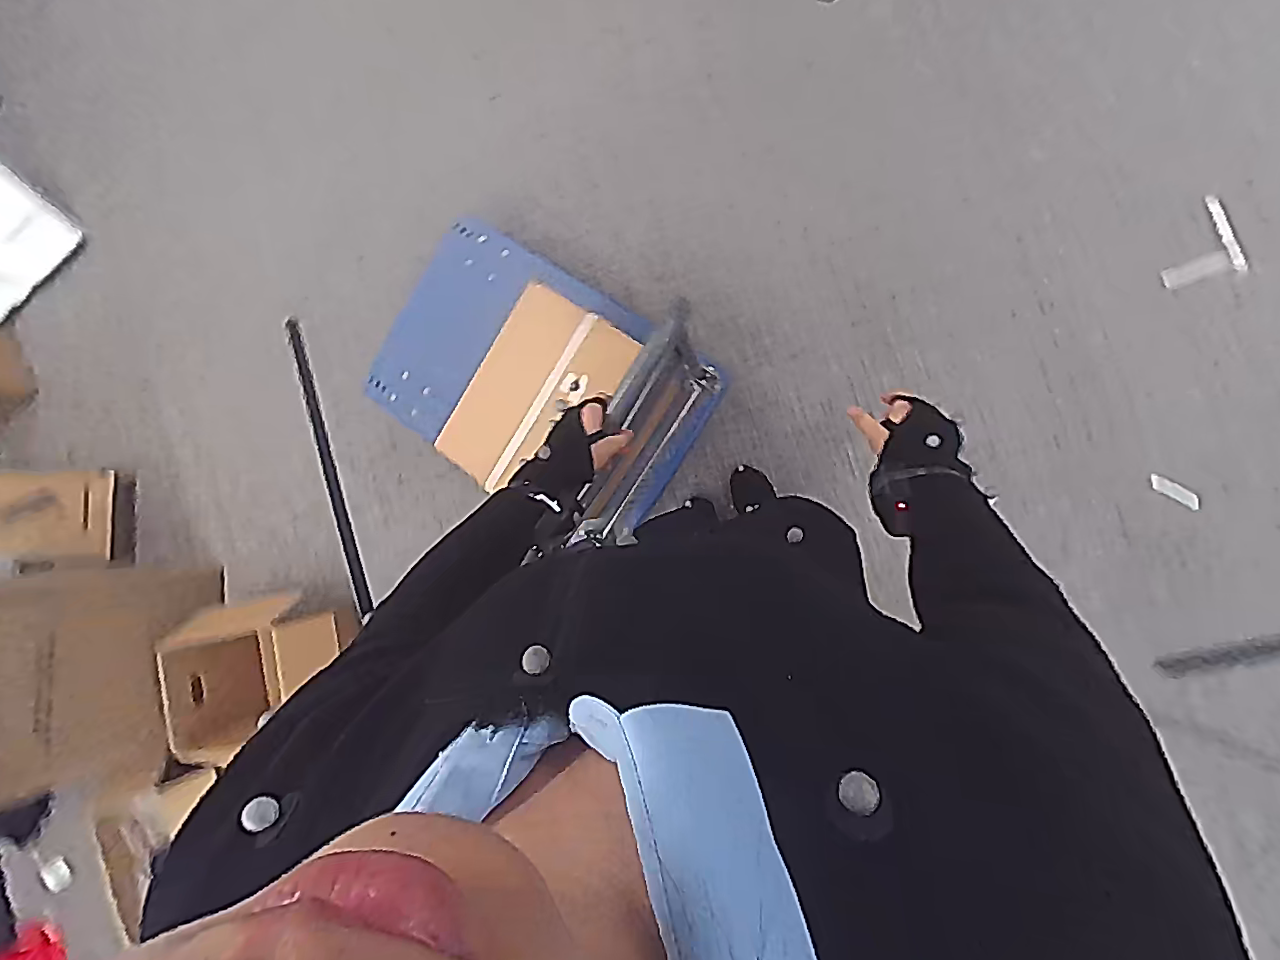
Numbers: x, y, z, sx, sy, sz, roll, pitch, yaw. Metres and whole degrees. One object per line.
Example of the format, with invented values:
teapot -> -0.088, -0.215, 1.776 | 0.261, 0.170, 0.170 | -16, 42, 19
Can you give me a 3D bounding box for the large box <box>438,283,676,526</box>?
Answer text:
large box -> -0.167, -0.148, 1.224 | 0.320, 0.320, 0.408 | 33, 96, 10
